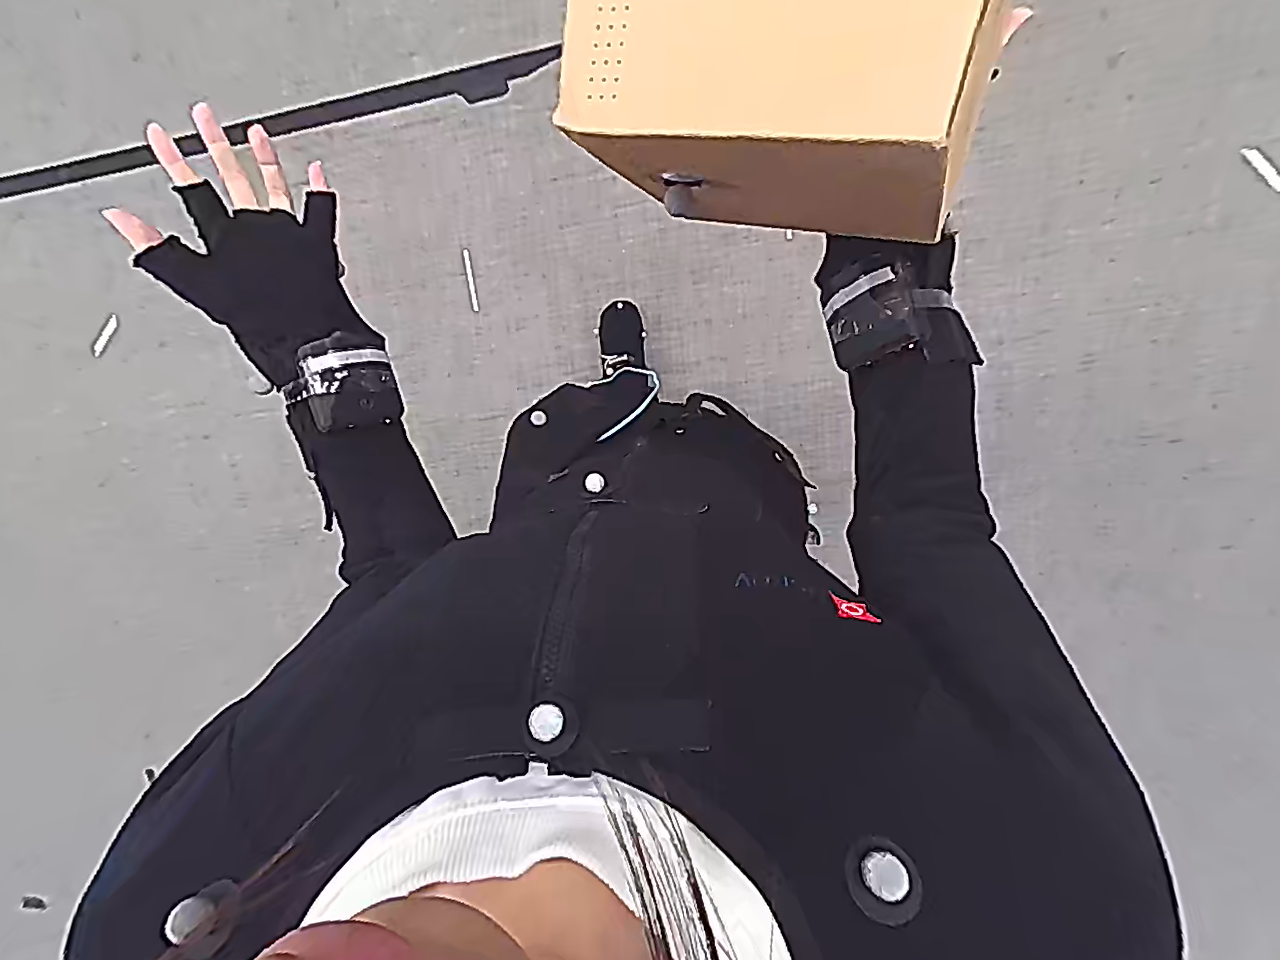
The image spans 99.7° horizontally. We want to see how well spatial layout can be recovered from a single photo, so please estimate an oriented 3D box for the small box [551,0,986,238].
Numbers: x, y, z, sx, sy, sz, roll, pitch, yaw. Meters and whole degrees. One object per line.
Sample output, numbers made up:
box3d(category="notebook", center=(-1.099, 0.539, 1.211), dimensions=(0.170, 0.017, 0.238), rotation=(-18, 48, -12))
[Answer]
box3d(category="small box", center=(0.074, -0.237, 0.270), dimensions=(0.176, 0.168, 0.179), rotation=(18, 108, 24))
